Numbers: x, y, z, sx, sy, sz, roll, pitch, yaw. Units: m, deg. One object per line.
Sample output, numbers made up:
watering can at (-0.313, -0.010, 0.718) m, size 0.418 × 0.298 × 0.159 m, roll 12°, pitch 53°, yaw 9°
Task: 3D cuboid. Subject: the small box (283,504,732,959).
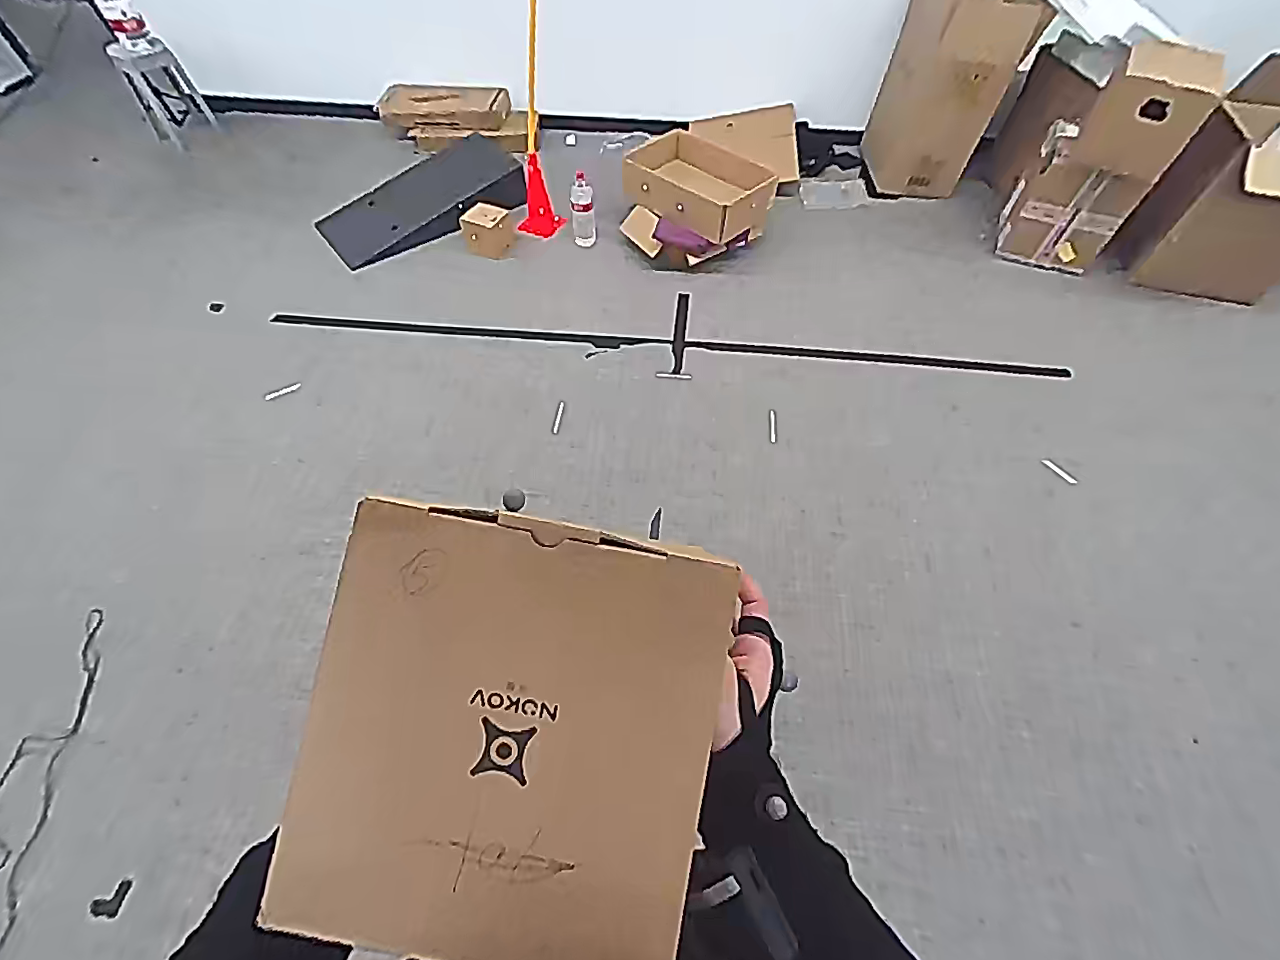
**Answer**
small box at (-0.053, 0.117, 0.312) m, size 0.168 × 0.176 × 0.179 m, roll 10°, pitch 85°, yaw 3°
